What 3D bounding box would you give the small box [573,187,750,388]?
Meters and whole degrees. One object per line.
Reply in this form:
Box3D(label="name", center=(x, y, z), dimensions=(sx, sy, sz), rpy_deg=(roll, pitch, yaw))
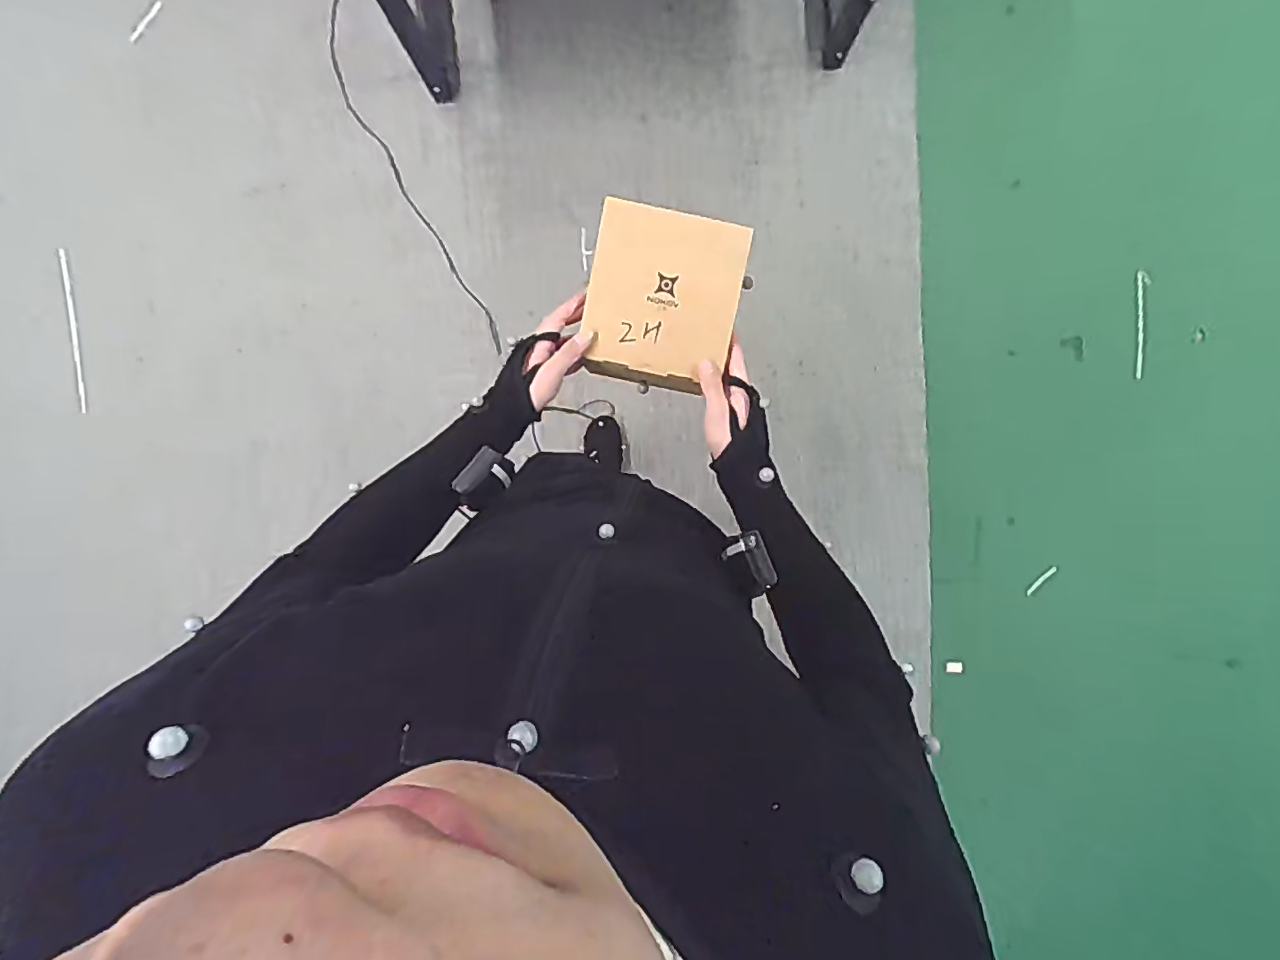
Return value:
Box3D(label="small box", center=(0.021, -0.220, 0.665), dimensions=(0.168, 0.176, 0.179), rpy_deg=(12, 95, -2))
